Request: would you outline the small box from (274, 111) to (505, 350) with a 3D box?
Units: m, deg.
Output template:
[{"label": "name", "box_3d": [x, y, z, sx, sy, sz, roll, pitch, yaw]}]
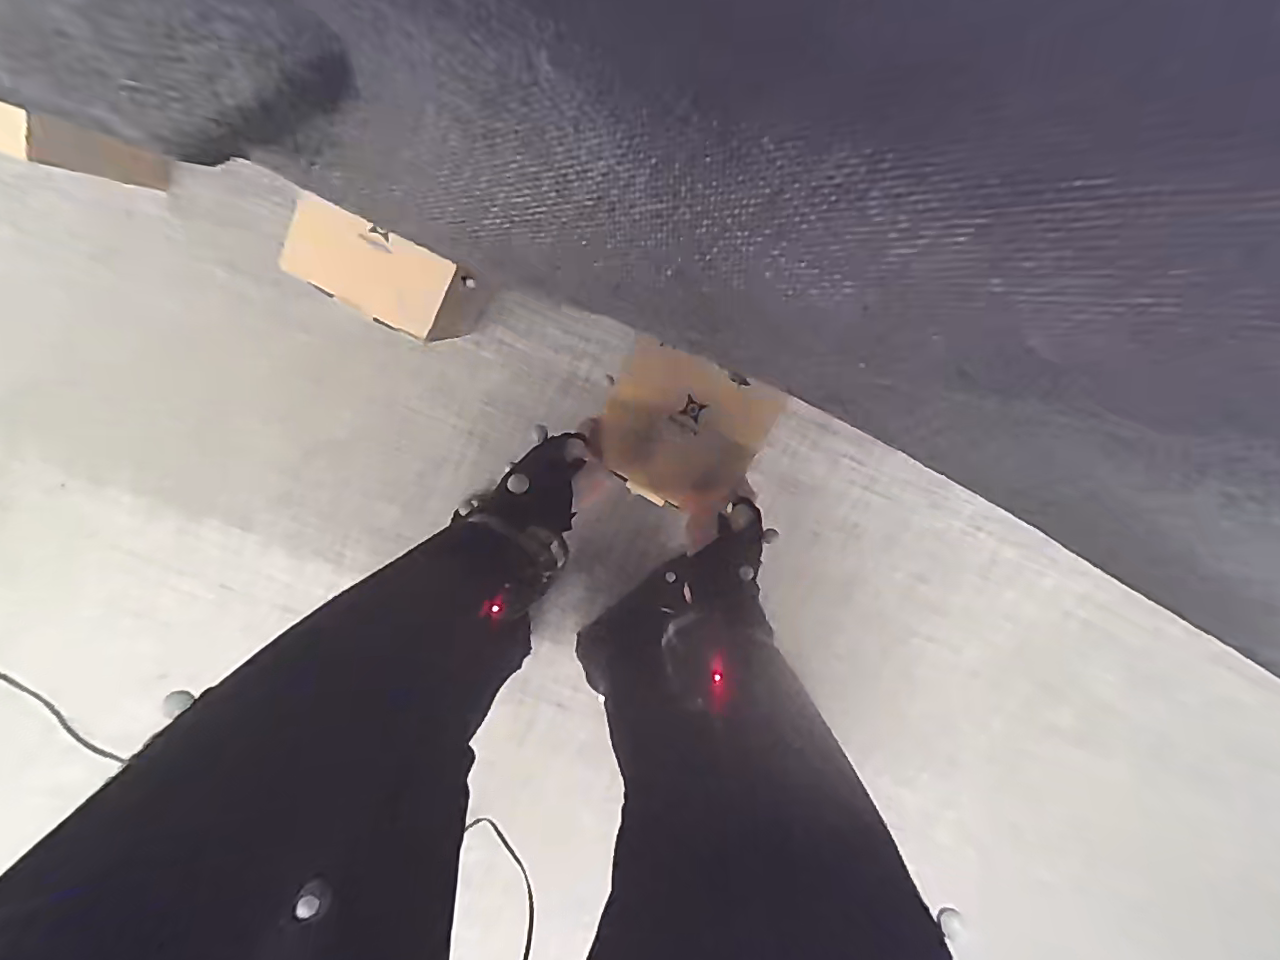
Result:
[{"label": "small box", "box_3d": [-0.273, -0.271, 0.629, 0.168, 0.176, 0.179, 25, 104, -10]}]
